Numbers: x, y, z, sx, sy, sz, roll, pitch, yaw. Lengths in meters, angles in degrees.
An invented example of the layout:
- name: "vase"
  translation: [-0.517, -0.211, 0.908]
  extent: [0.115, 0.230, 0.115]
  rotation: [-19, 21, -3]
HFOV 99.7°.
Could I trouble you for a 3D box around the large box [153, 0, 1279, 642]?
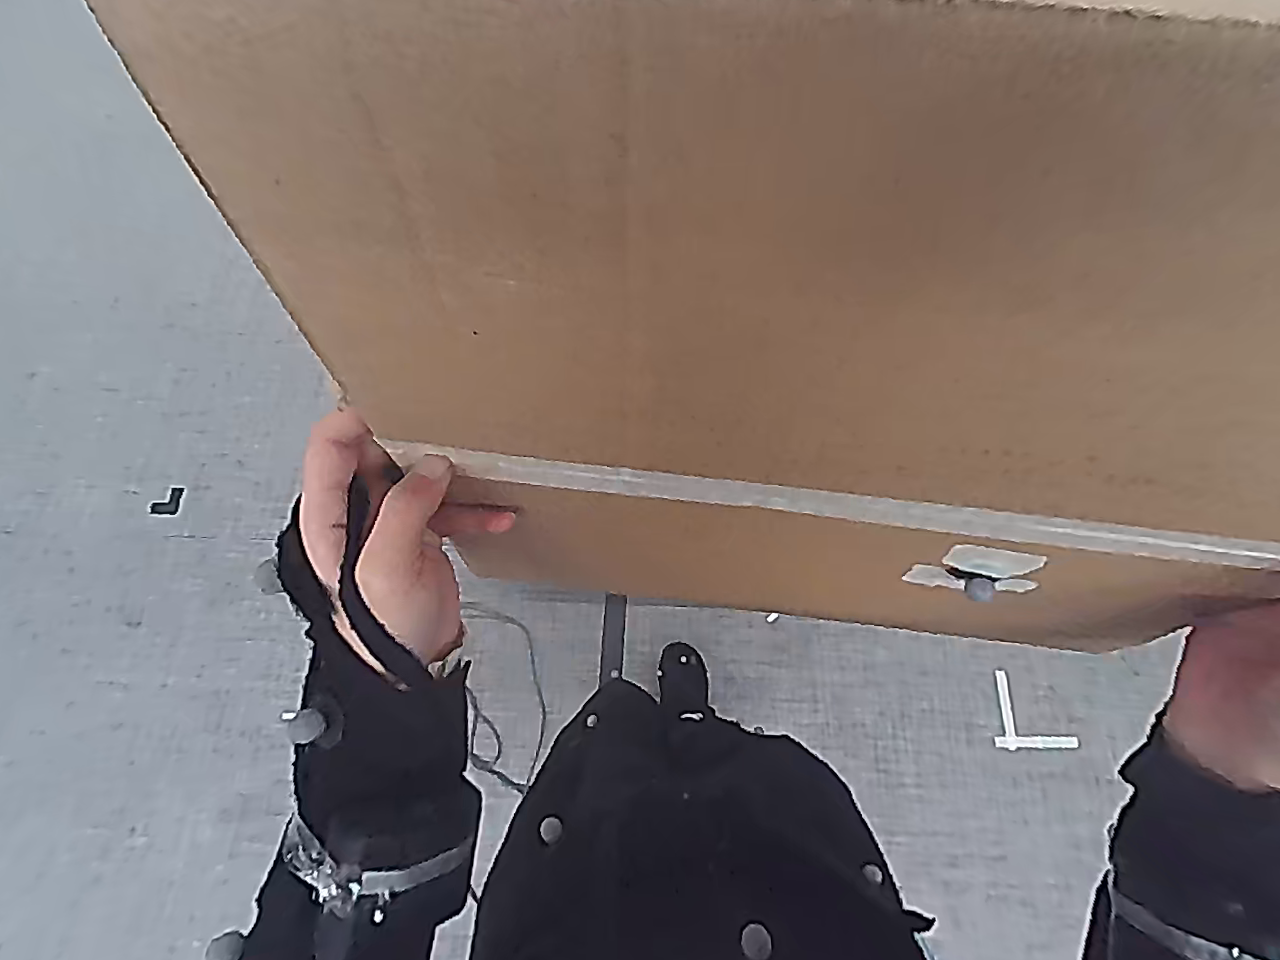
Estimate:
- name: "large box"
  translation: [0.104, -0.119, 0.306]
  extent: [0.408, 0.320, 0.320]
  rotation: [5, 60, 2]
